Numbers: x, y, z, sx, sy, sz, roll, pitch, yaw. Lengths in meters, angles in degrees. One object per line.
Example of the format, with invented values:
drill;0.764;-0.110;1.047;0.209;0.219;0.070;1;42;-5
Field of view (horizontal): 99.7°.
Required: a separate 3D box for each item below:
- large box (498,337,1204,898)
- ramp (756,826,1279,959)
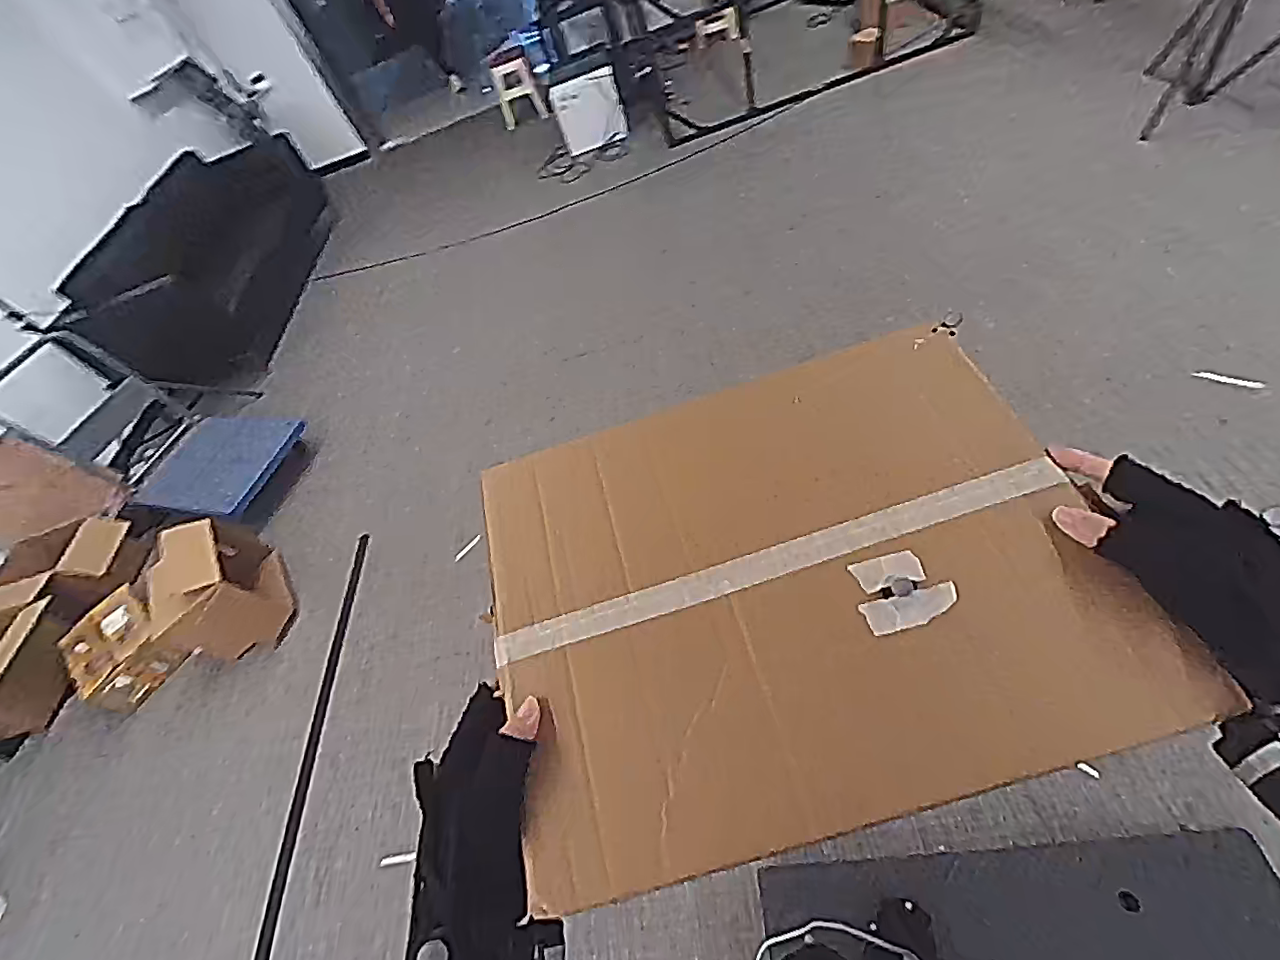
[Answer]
large box;0.126;0.135;0.517;0.408;0.320;0.320;-18;59;2
ramp;0.754;0.962;0.988;0.991;0.206;0.509;-15;50;10
